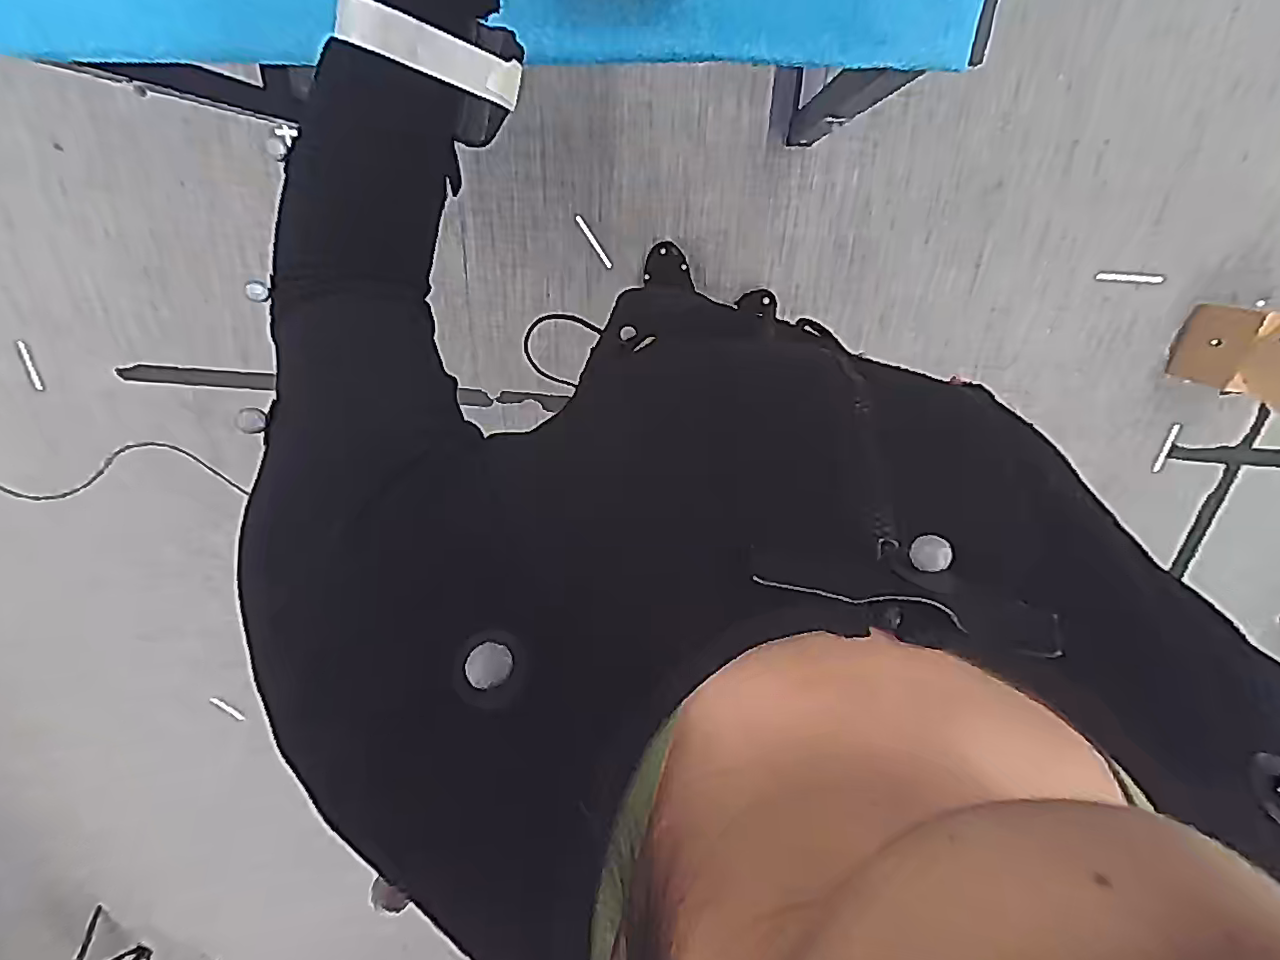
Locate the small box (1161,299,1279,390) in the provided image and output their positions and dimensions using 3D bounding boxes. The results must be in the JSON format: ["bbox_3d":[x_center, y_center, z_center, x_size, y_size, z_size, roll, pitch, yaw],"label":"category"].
[{"bbox_3d":[1.391,-0.316,1.263,0.168,0.176,0.179,5,115,0],"label":"small box"}]

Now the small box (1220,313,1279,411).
[{"bbox_3d":[1.395,-0.243,1.112,0.168,0.176,0.179,38,111,-14],"label":"small box"}]
